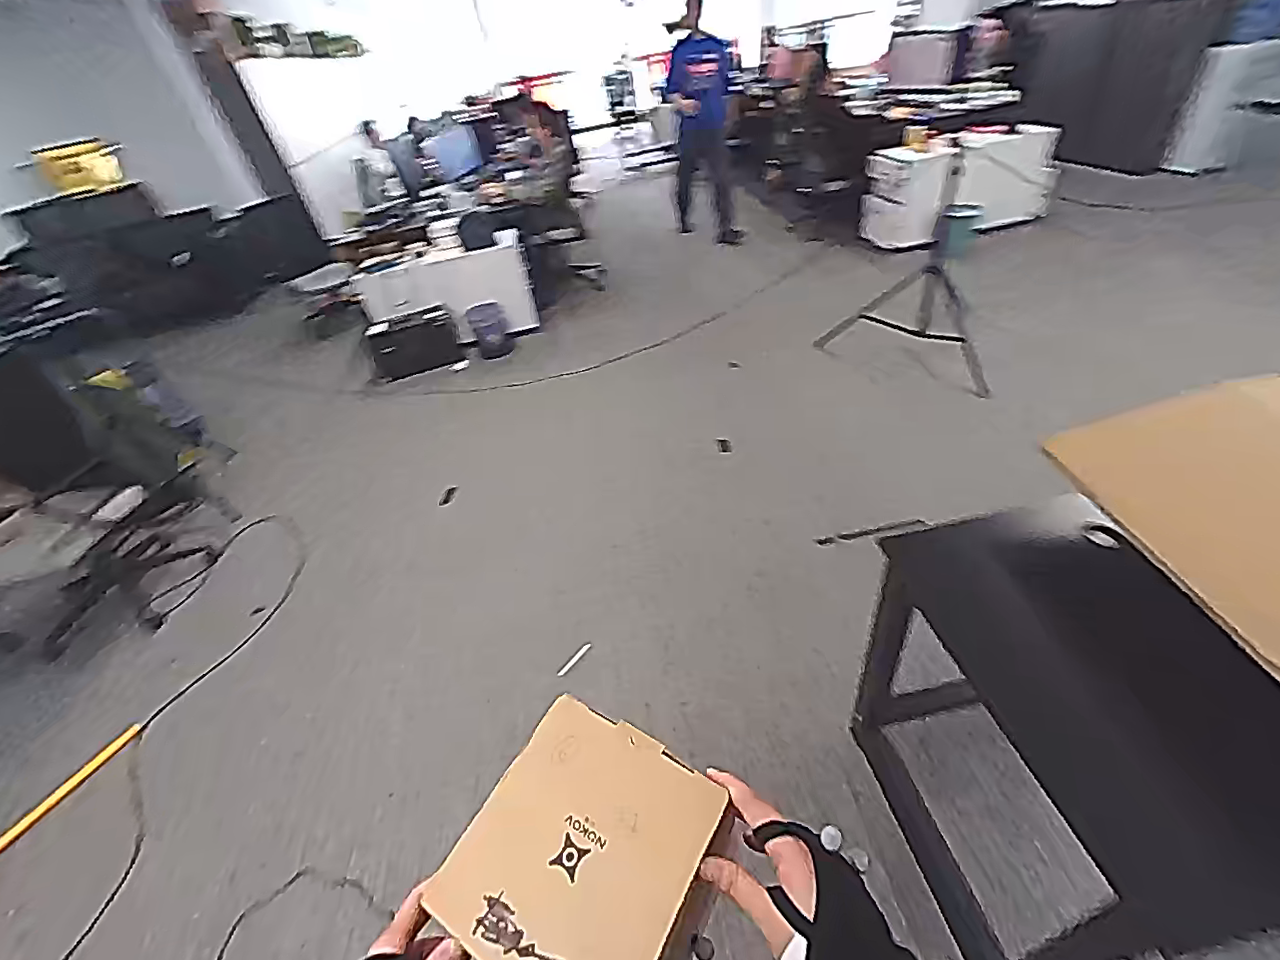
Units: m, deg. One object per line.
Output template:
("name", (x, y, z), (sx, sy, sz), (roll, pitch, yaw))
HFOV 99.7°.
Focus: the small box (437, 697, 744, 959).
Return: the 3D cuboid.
("small box", (-0.024, 0.327, 0.451), (0.168, 0.176, 0.179), (18, 50, 29))
